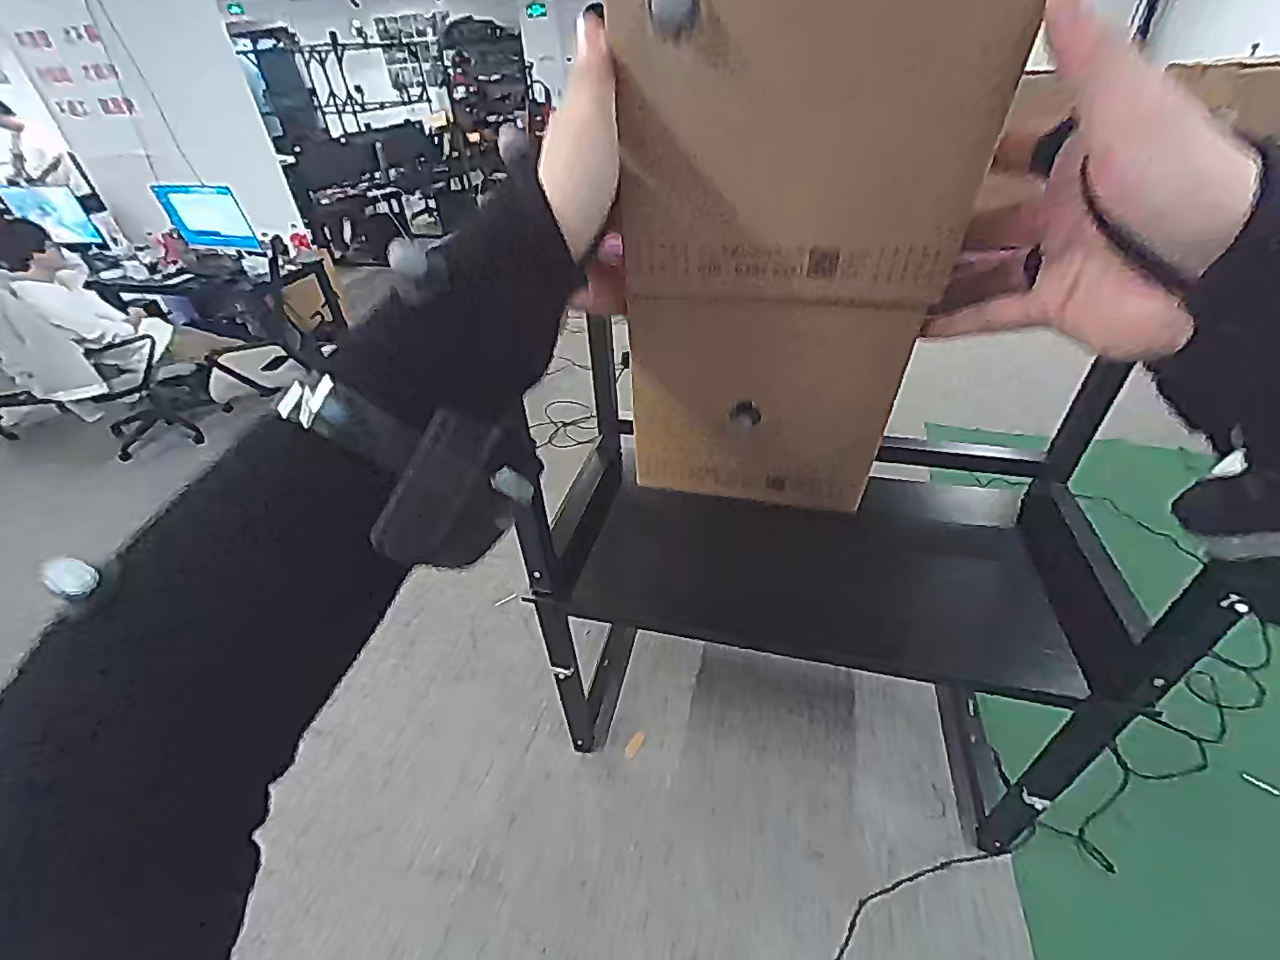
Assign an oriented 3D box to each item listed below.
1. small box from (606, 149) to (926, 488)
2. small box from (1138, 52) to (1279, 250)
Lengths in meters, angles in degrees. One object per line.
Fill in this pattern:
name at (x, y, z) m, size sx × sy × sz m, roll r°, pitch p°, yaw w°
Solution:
small box at (0.084, -0.117, 0.388) m, size 0.168 × 0.176 × 0.179 m, roll 10°, pitch 47°, yaw 11°
small box at (0.683, -0.349, 0.574) m, size 0.179 × 0.176 × 0.168 m, roll 11°, pitch 39°, yaw 17°
